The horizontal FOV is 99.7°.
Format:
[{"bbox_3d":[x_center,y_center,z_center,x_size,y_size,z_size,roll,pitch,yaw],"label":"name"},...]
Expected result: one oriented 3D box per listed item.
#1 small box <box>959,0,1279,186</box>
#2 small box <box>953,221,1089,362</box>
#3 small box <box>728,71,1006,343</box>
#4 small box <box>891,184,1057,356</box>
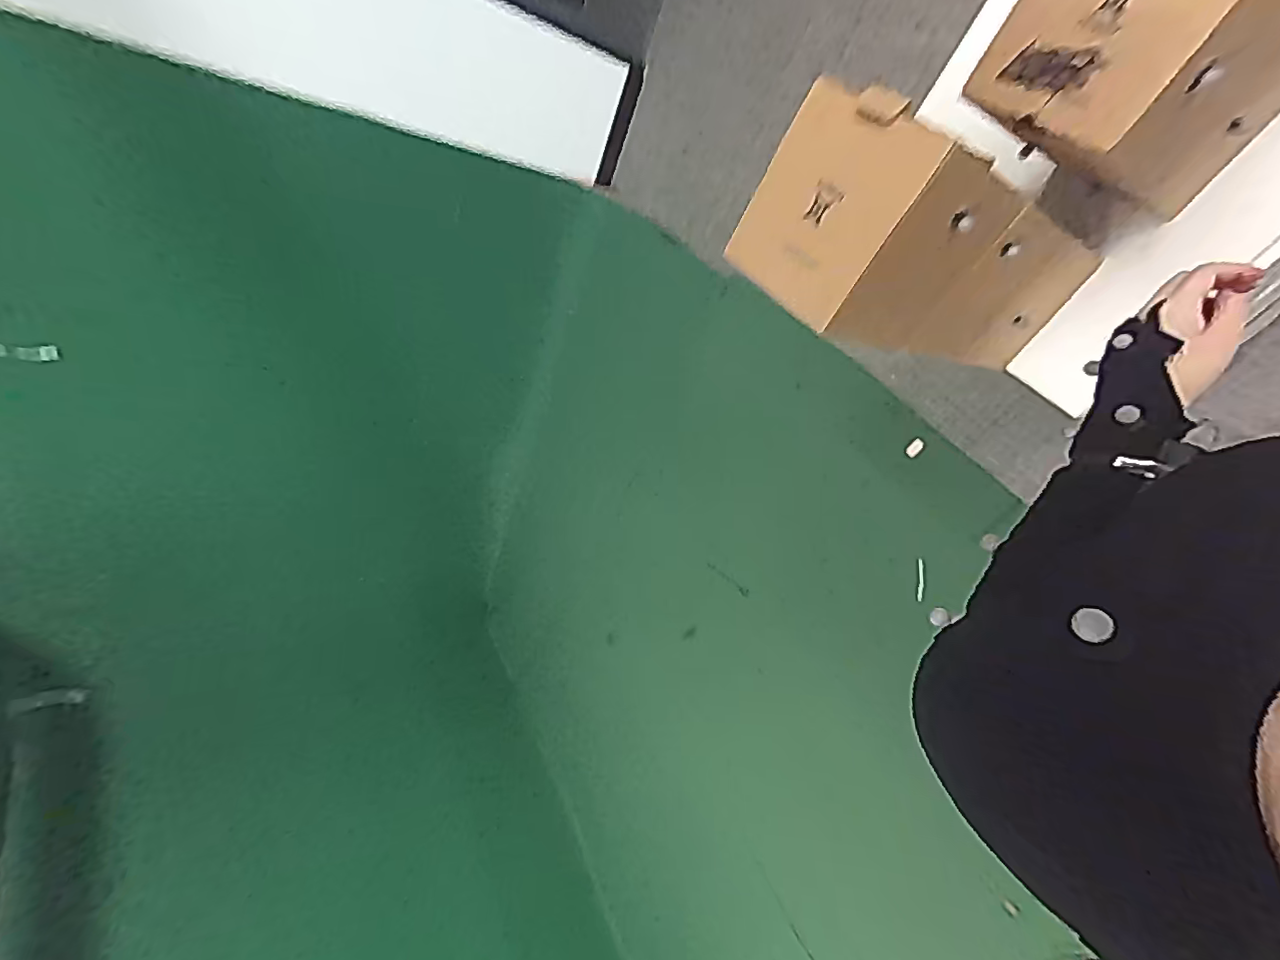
[{"bbox_3d":[0.459,-0.410,0.510,0.168,0.176,0.179,55,133,32],"label":"small box"},{"bbox_3d":[0.479,-0.283,0.763,0.168,0.176,0.179,54,130,32],"label":"small box"},{"bbox_3d":[0.231,-0.263,0.551,0.168,0.176,0.179,55,131,33],"label":"small box"},{"bbox_3d":[0.354,-0.271,0.657,0.168,0.176,0.179,56,130,32],"label":"small box"}]
